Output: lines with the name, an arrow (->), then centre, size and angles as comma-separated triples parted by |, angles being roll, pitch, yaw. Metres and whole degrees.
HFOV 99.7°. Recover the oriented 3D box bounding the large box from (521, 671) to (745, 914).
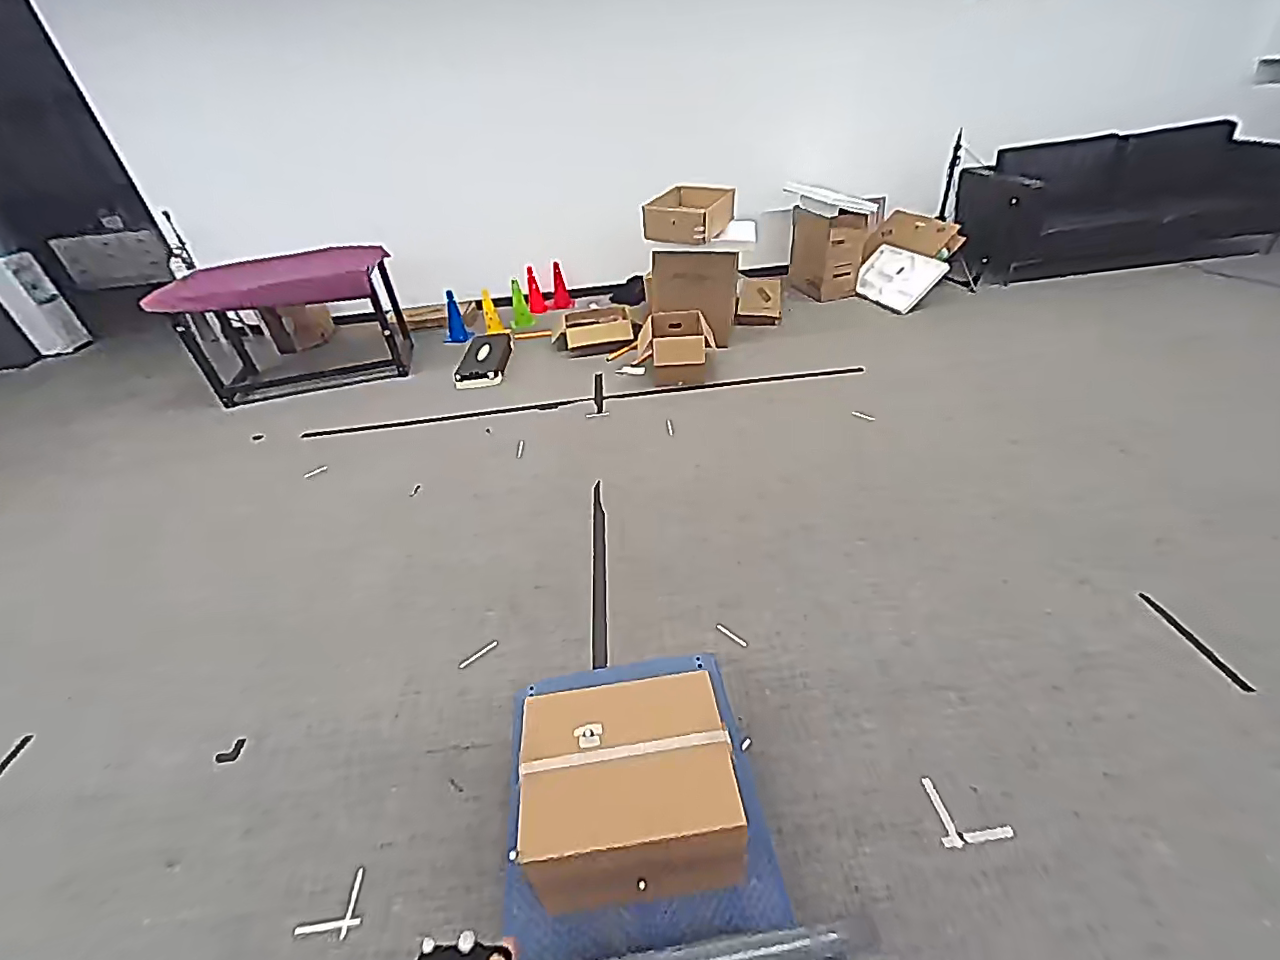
large box -> -0.014, 0.660, 1.152 | 0.408, 0.320, 0.320 | -9, 36, -2
